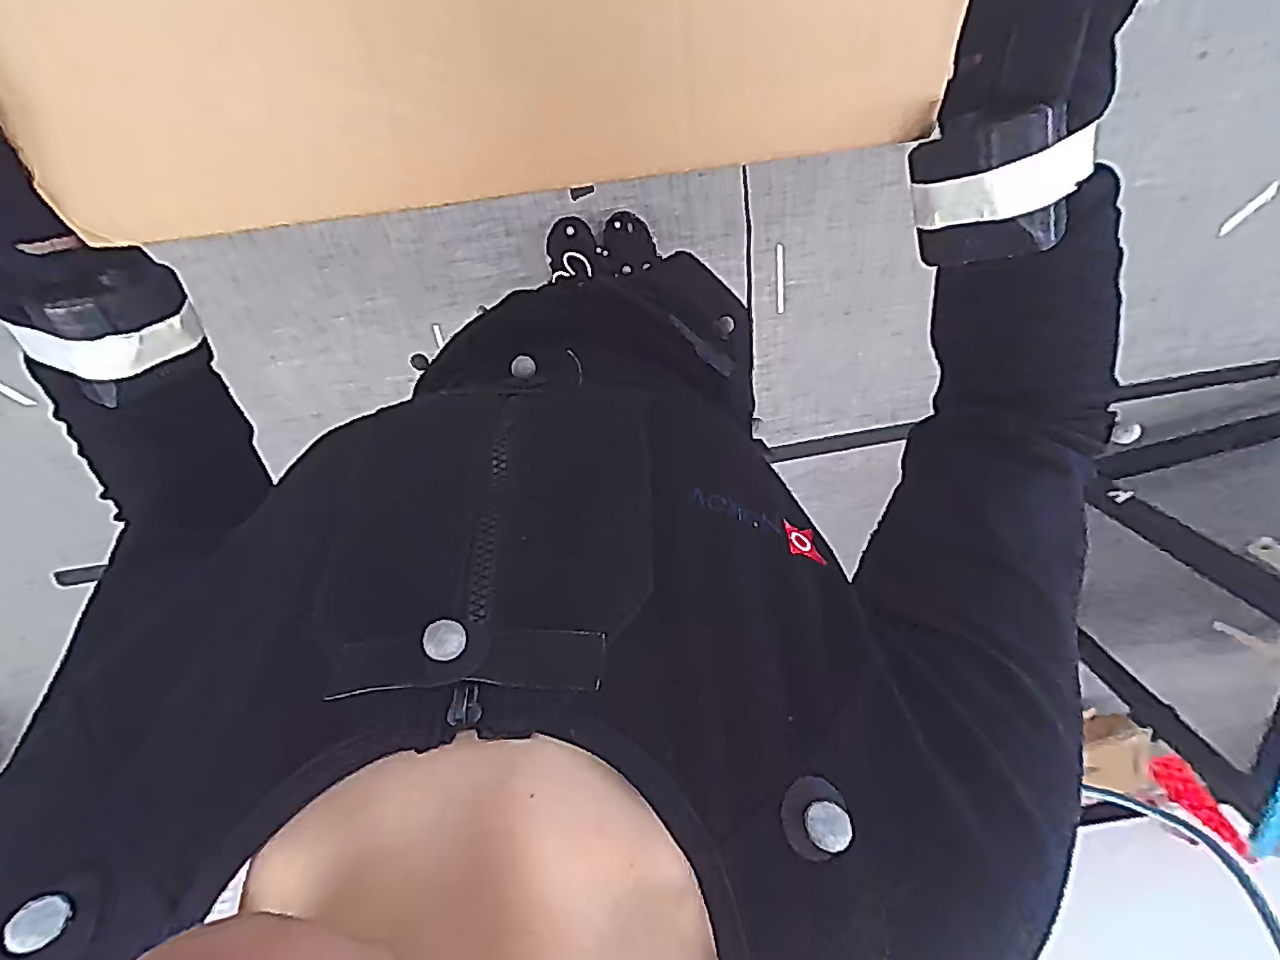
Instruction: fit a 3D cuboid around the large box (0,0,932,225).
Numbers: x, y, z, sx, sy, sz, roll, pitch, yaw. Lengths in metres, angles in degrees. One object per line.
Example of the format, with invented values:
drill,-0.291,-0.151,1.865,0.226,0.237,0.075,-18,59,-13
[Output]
large box,-0.094,-0.363,0.251,0.408,0.320,0.320,-7,137,0
